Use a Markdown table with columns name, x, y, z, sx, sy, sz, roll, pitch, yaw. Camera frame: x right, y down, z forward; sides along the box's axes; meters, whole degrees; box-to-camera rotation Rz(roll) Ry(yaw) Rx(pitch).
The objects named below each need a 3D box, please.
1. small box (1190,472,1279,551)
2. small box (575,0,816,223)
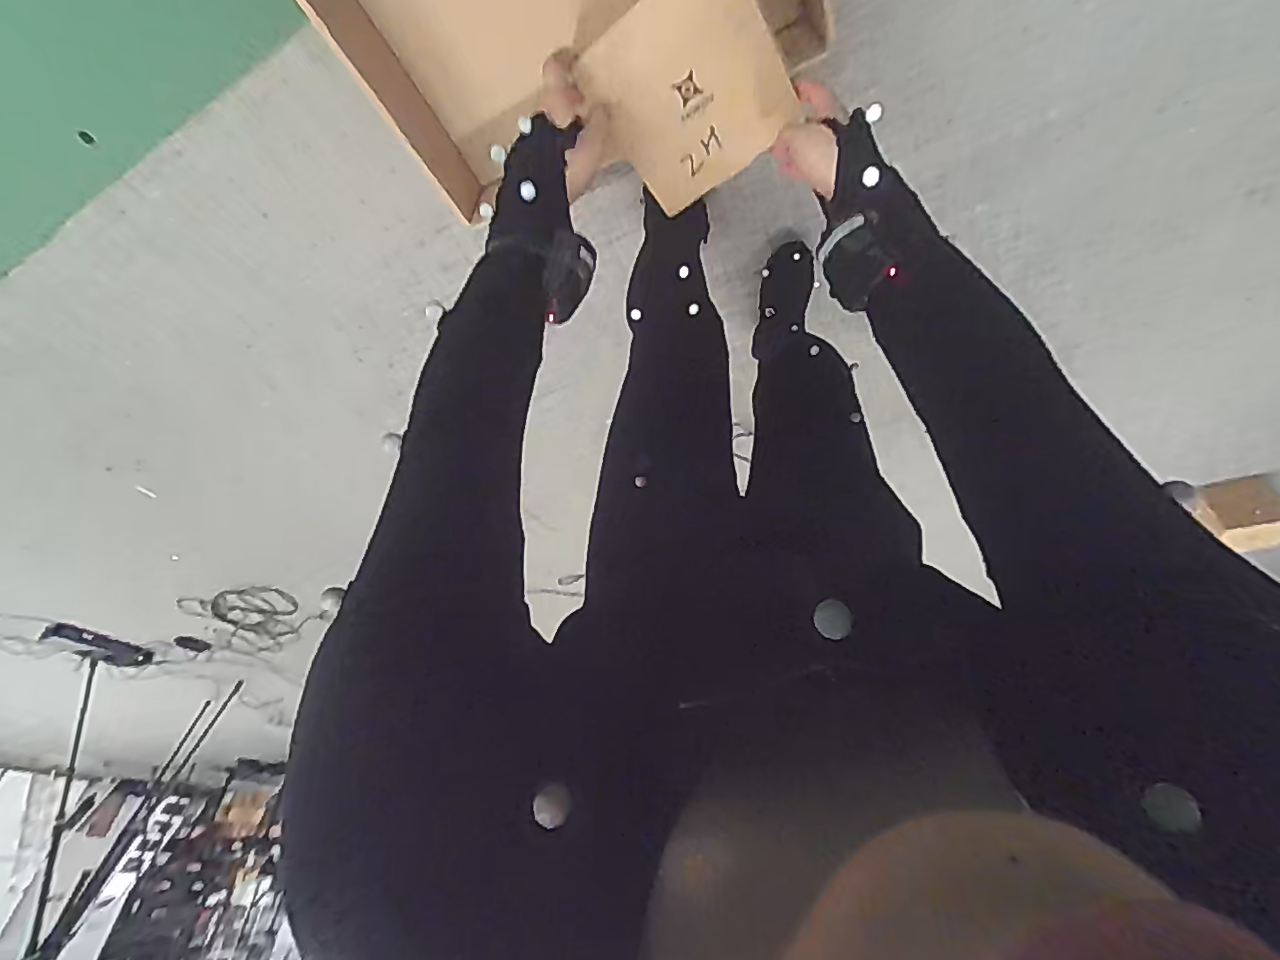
| name | x | y | z | sx | sy | sz | roll | pitch | yaw |
| --- | --- | --- | --- | --- | --- | --- | --- | --- | --- |
| small box | 1.902 | 0.097 | 1.697 | 0.179 | 0.176 | 0.168 | -15 | 139 | 22 |
| small box | 0.055 | -0.415 | 0.548 | 0.168 | 0.176 | 0.179 | -23 | 140 | 30 |
